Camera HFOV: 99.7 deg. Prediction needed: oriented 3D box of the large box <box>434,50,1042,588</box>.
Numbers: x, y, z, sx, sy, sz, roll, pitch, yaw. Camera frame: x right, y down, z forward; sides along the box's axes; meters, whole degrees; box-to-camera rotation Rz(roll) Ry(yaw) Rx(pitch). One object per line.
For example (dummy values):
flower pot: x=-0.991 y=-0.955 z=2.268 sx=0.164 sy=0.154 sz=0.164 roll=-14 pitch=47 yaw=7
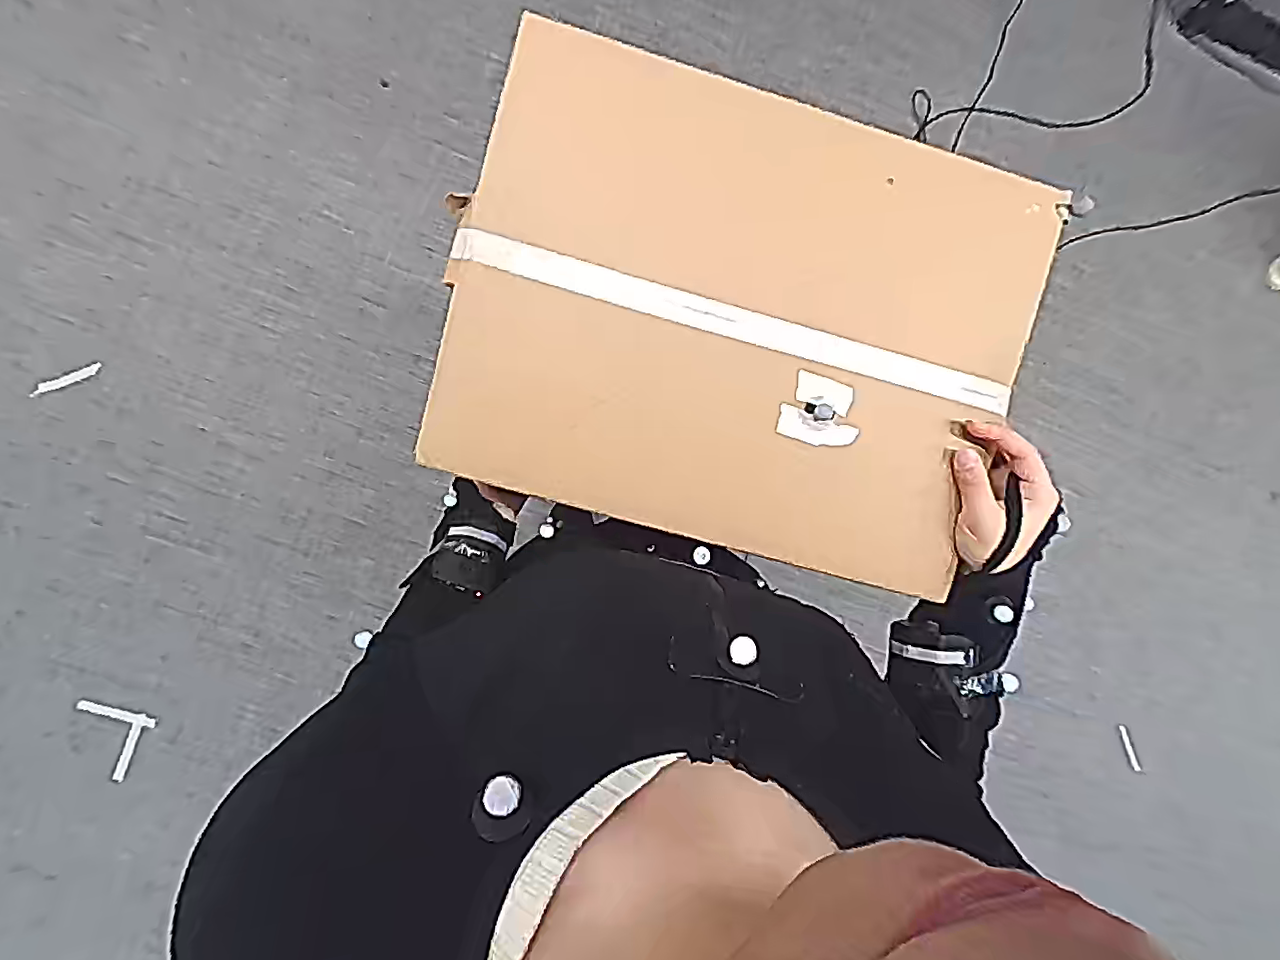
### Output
large box: x=0.064 y=-0.117 z=0.542 sx=0.408 sy=0.320 sz=0.320 roll=14 pitch=94 yaw=-5
